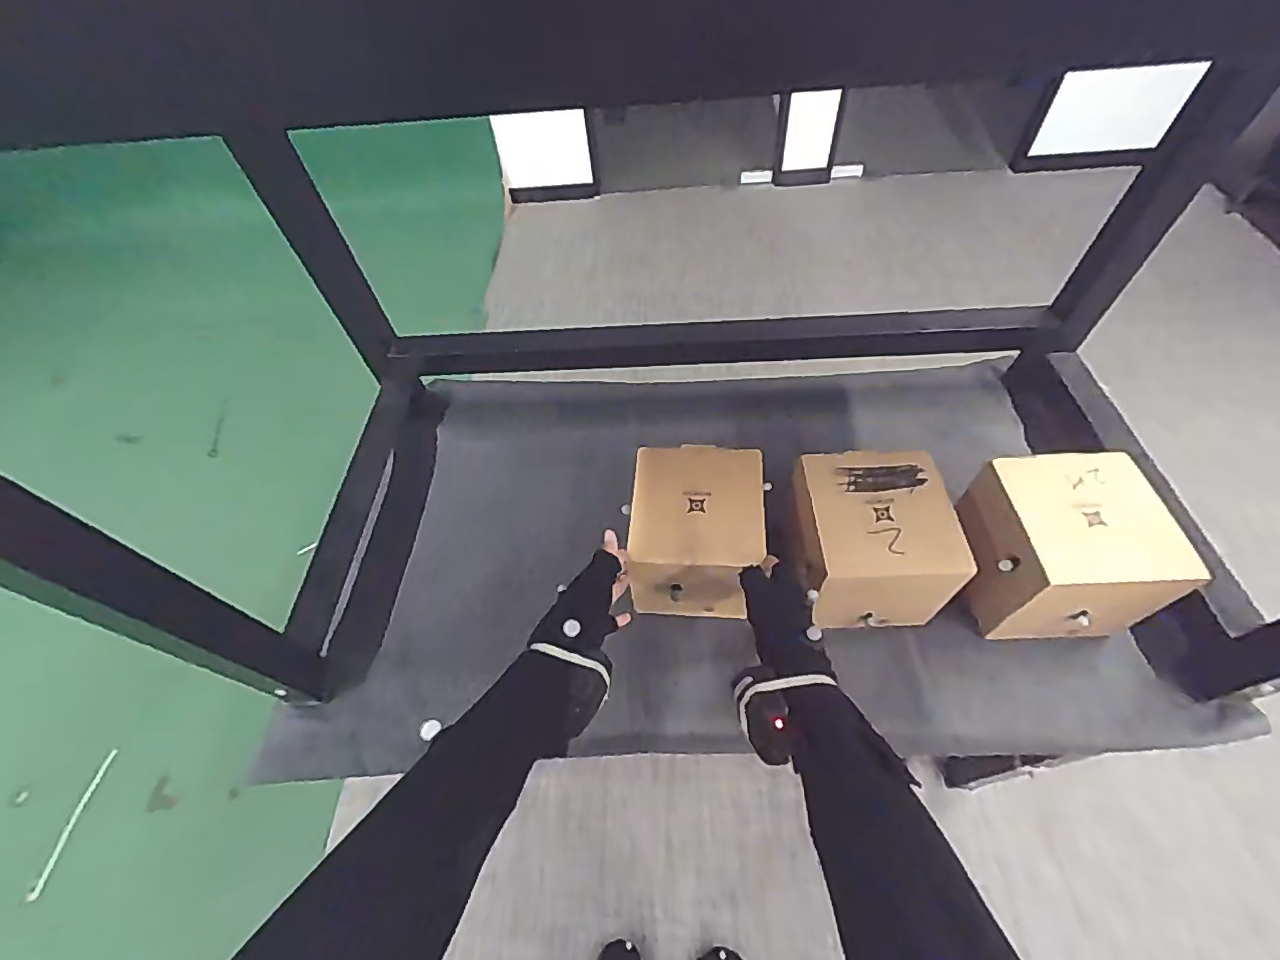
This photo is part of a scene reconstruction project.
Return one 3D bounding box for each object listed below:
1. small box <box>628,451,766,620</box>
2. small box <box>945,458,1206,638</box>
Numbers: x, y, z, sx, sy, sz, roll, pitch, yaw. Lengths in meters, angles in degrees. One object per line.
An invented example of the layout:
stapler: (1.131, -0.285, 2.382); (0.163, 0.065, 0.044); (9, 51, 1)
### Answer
small box: (0.081, 0.080, 0.743); (0.168, 0.176, 0.179); (2, 55, 6)
small box: (0.526, 0.094, 0.689); (0.168, 0.176, 0.179); (-3, 53, 3)
